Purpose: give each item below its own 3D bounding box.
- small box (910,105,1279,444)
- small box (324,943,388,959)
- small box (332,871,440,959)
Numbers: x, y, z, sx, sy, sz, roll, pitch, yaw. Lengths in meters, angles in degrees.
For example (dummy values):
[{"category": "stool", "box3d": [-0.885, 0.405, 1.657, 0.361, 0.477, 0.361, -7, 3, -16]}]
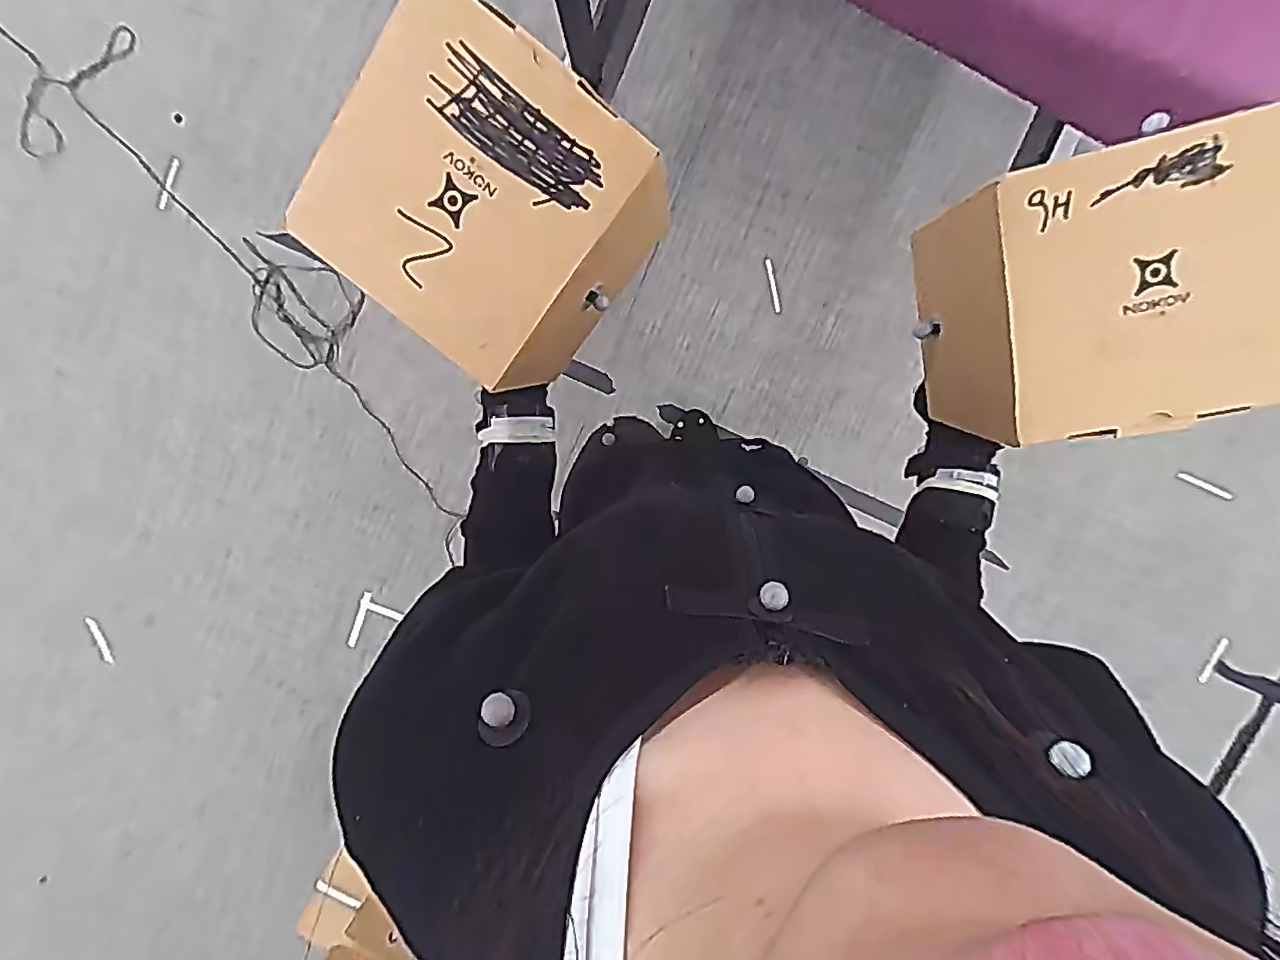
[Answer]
[{"category": "small box", "box3d": [0.327, -0.140, 0.416, 0.168, 0.176, 0.179, -10, 102, 11]}, {"category": "small box", "box3d": [-0.605, 1.100, 1.093, 0.168, 0.176, 0.179, 16, 98, 1]}, {"category": "small box", "box3d": [-0.599, 1.065, 1.252, 0.179, 0.176, 0.168, 32, 96, -1]}]
